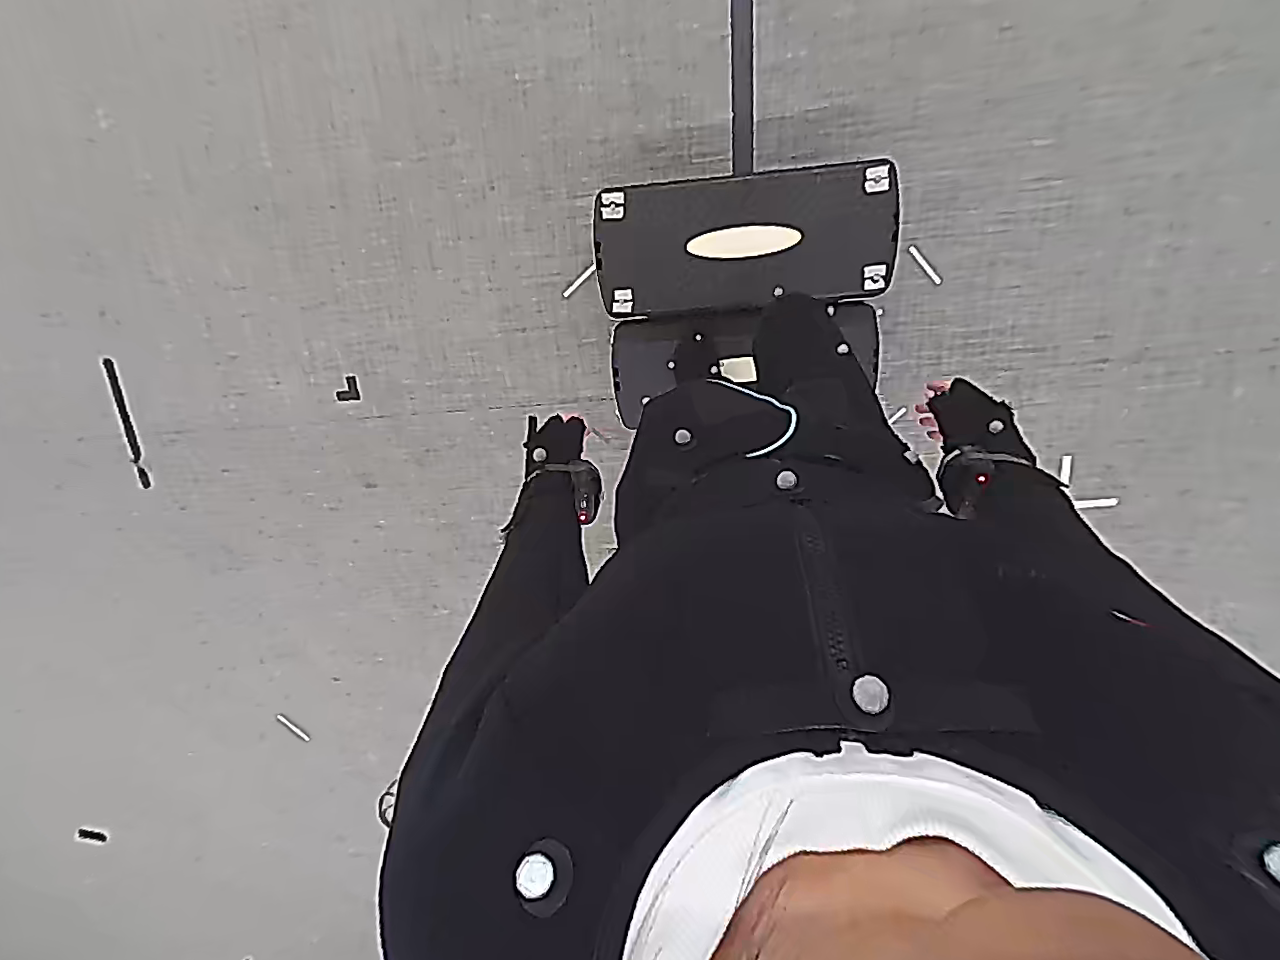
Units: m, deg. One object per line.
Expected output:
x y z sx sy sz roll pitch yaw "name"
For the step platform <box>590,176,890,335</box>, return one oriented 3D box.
0.223 -0.522 1.290 0.684 0.204 0.286 -4 107 5 "step platform"
